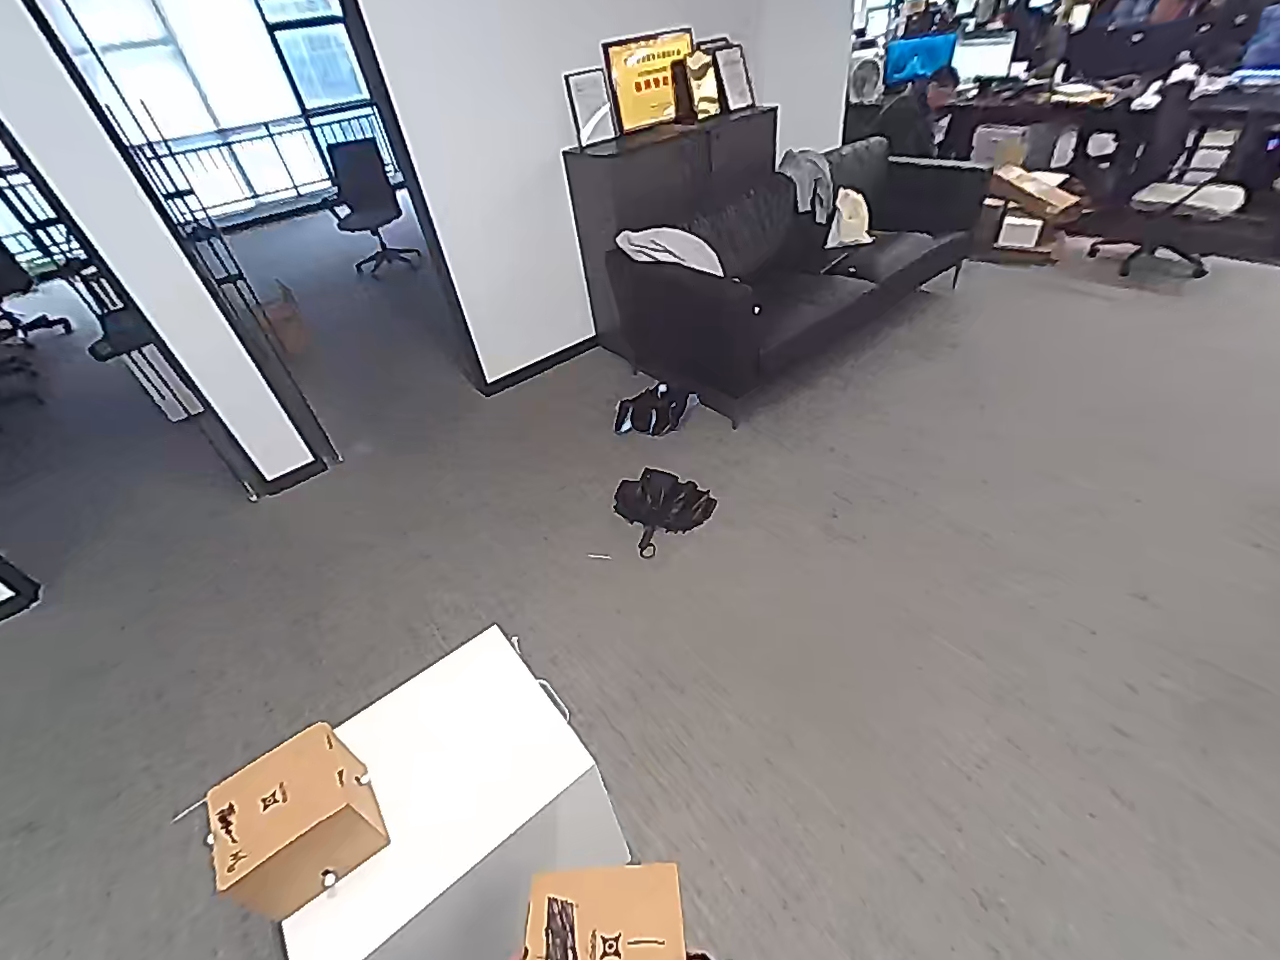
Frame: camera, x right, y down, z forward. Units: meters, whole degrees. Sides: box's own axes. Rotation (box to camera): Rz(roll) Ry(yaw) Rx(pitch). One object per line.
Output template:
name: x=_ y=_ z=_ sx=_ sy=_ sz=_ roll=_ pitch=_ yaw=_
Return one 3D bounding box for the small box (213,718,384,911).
small box: x=-0.533 y=0.531 z=0.864 sx=0.179 sy=0.176 sz=0.168 roll=-29 pitch=44 yaw=-25

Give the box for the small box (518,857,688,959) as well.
small box: x=-0.033 y=0.558 z=0.592 sx=0.179 sy=0.176 sz=0.168 roll=-4 pitch=19 yaw=0
